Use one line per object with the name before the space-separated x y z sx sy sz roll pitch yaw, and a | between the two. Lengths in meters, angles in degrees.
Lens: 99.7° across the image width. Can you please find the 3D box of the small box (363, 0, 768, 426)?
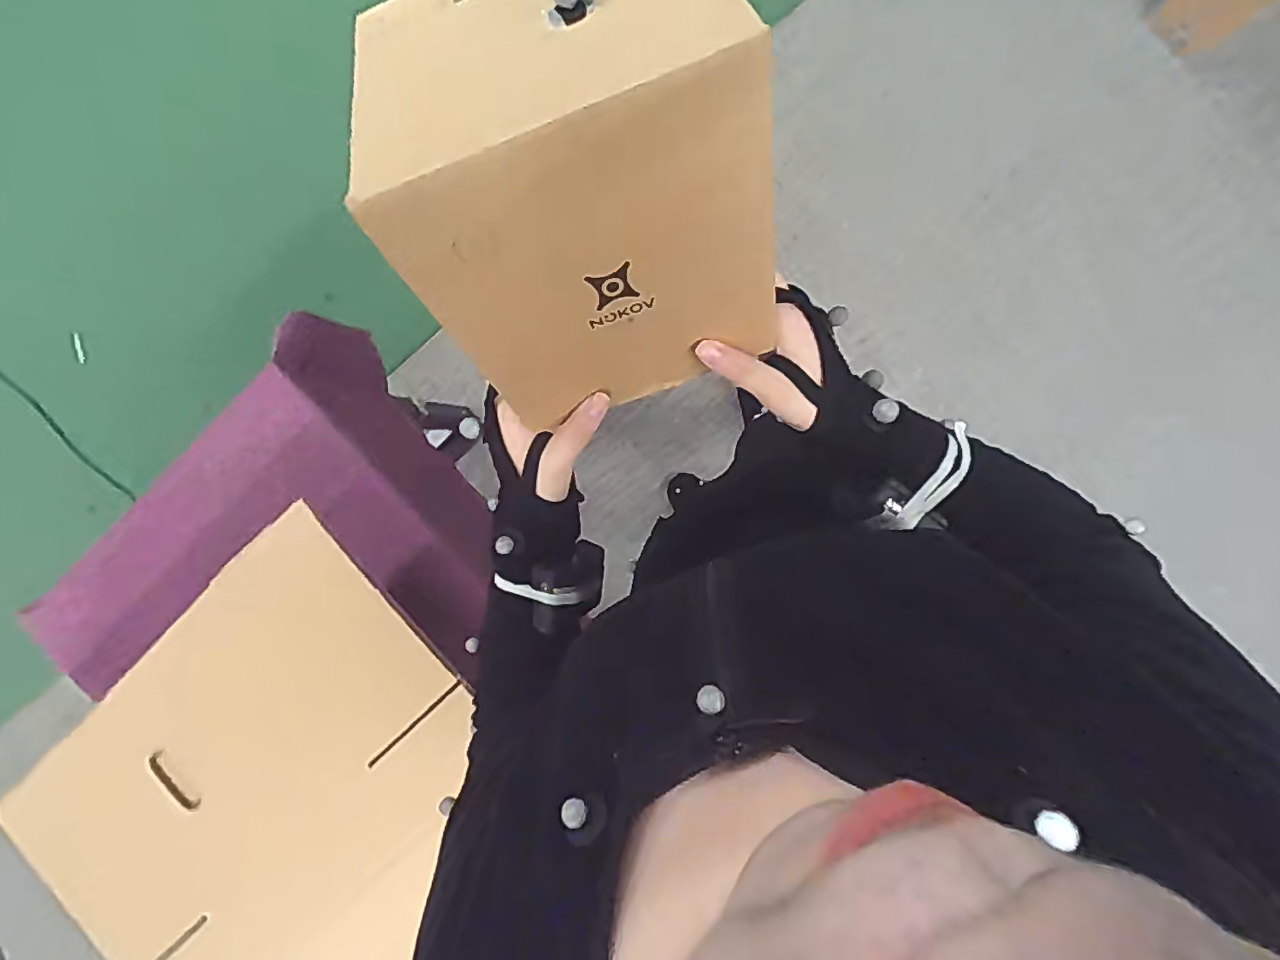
small box | -0.034 -0.166 0.313 0.168 0.179 0.176 -19 63 6
